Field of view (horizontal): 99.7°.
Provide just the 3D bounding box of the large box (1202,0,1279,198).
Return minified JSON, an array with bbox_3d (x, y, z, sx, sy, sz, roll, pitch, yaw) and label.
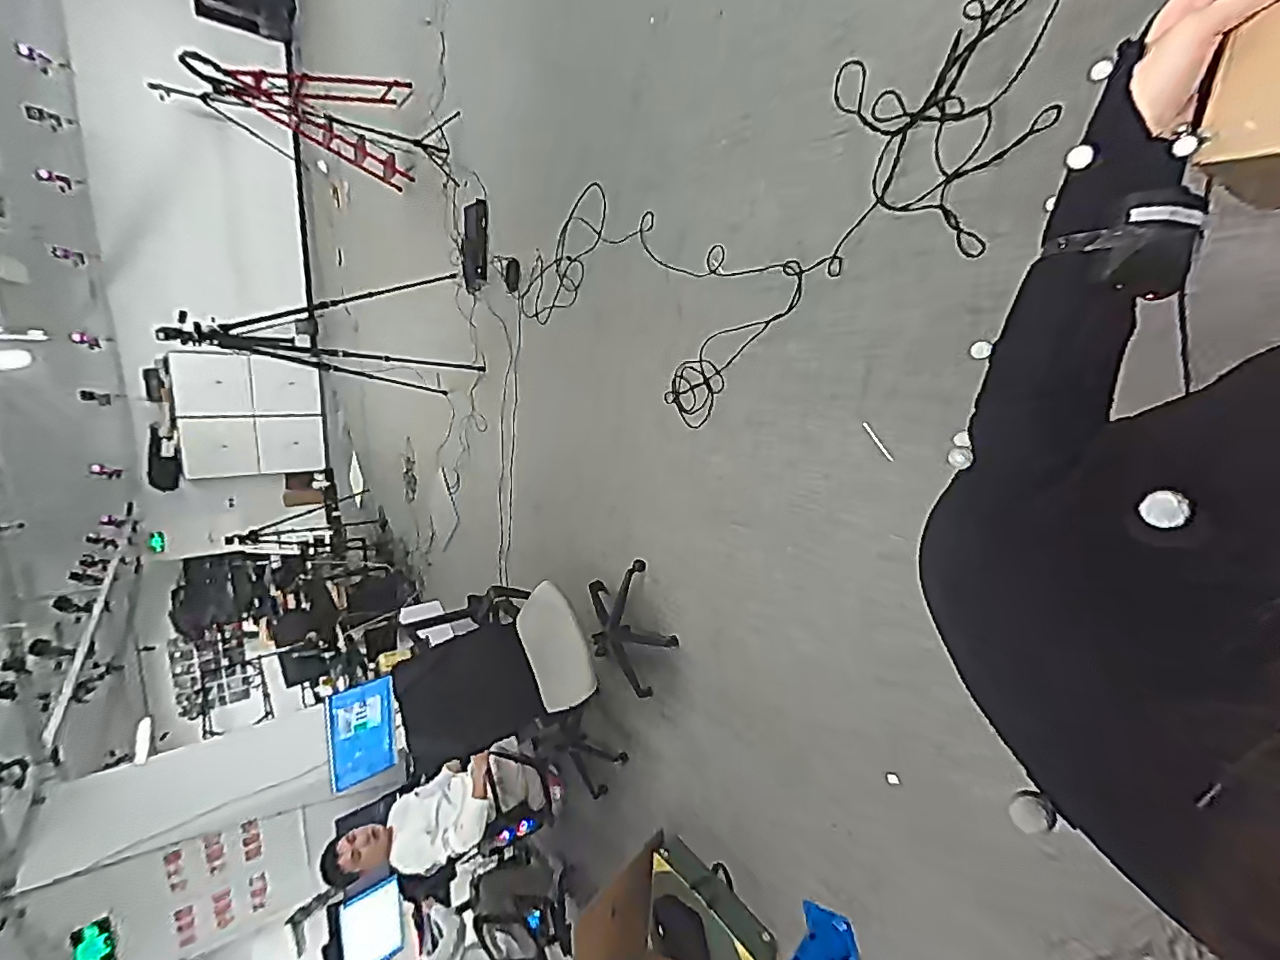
[{"bbox_3d":[0.640,-0.353,0.272,0.408,0.320,0.320,23,119,51],"label":"large box"}]
